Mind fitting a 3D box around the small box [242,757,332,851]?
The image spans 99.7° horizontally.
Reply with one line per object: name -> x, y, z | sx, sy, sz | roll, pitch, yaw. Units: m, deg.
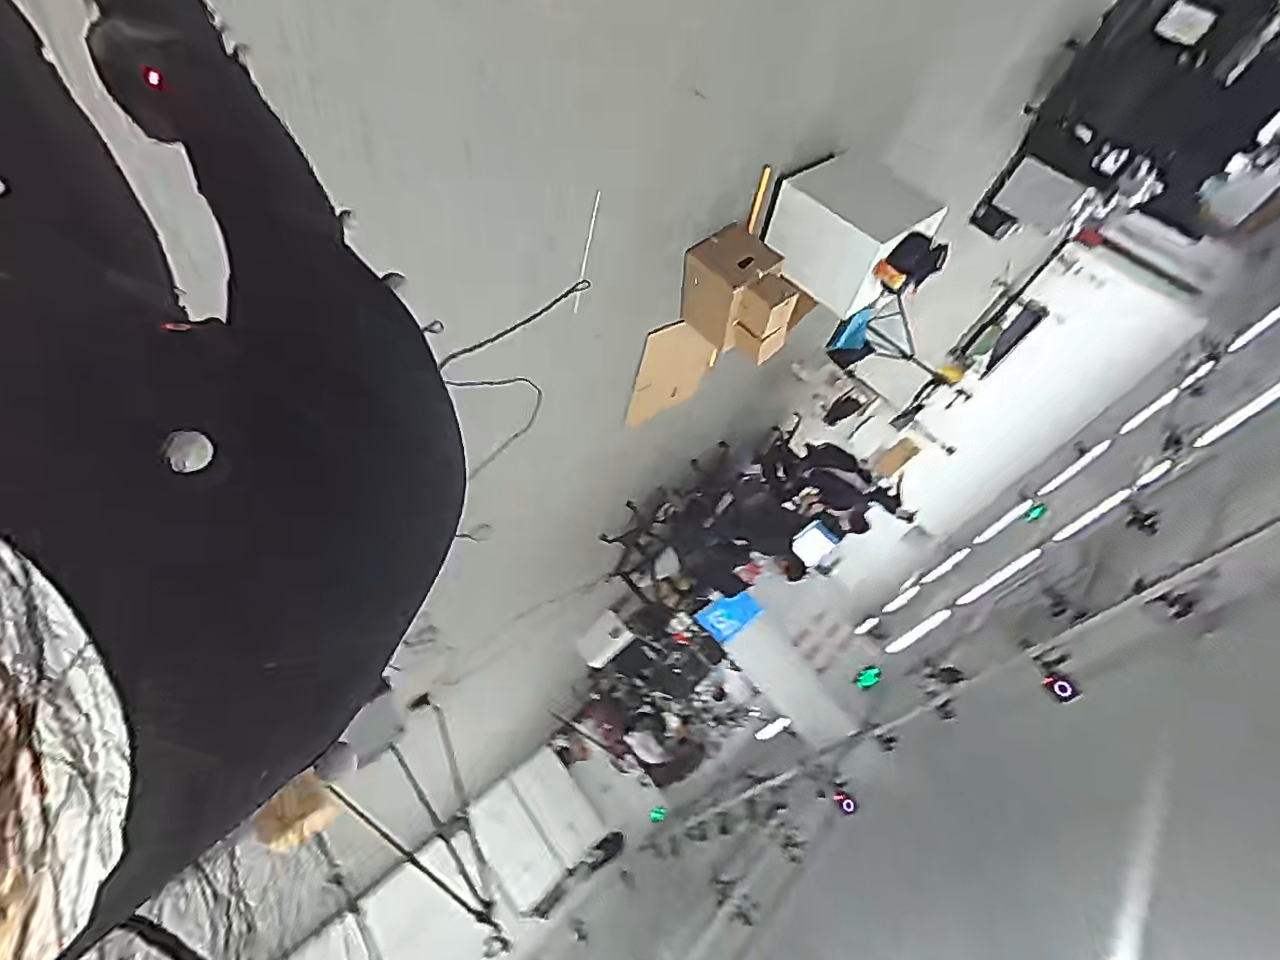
small box -> -1.054, 0.965, 1.619 | 0.168, 0.176, 0.179 | -27, 154, -36
